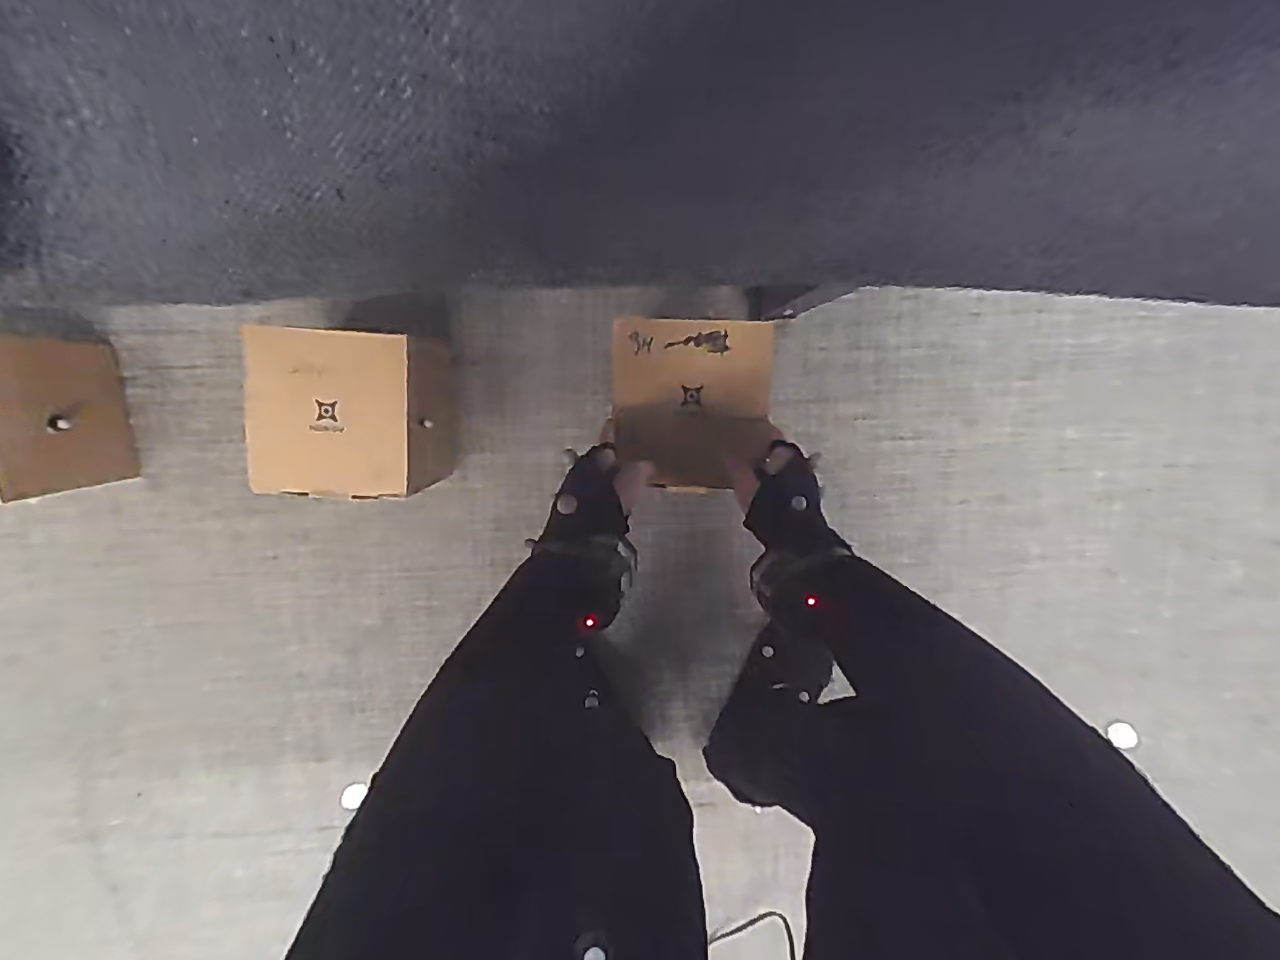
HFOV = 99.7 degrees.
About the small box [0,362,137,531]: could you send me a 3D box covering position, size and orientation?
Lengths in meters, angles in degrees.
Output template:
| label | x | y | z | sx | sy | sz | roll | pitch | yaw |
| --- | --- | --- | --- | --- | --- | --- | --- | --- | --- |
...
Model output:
| label | x | y | z | sx | sy | sz | roll | pitch | yaw |
| --- | --- | --- | --- | --- | --- | --- | --- | --- | --- |
| small box | -0.741 | -0.040 | 0.617 | 0.168 | 0.176 | 0.179 | -5 | 100 | -1 |
